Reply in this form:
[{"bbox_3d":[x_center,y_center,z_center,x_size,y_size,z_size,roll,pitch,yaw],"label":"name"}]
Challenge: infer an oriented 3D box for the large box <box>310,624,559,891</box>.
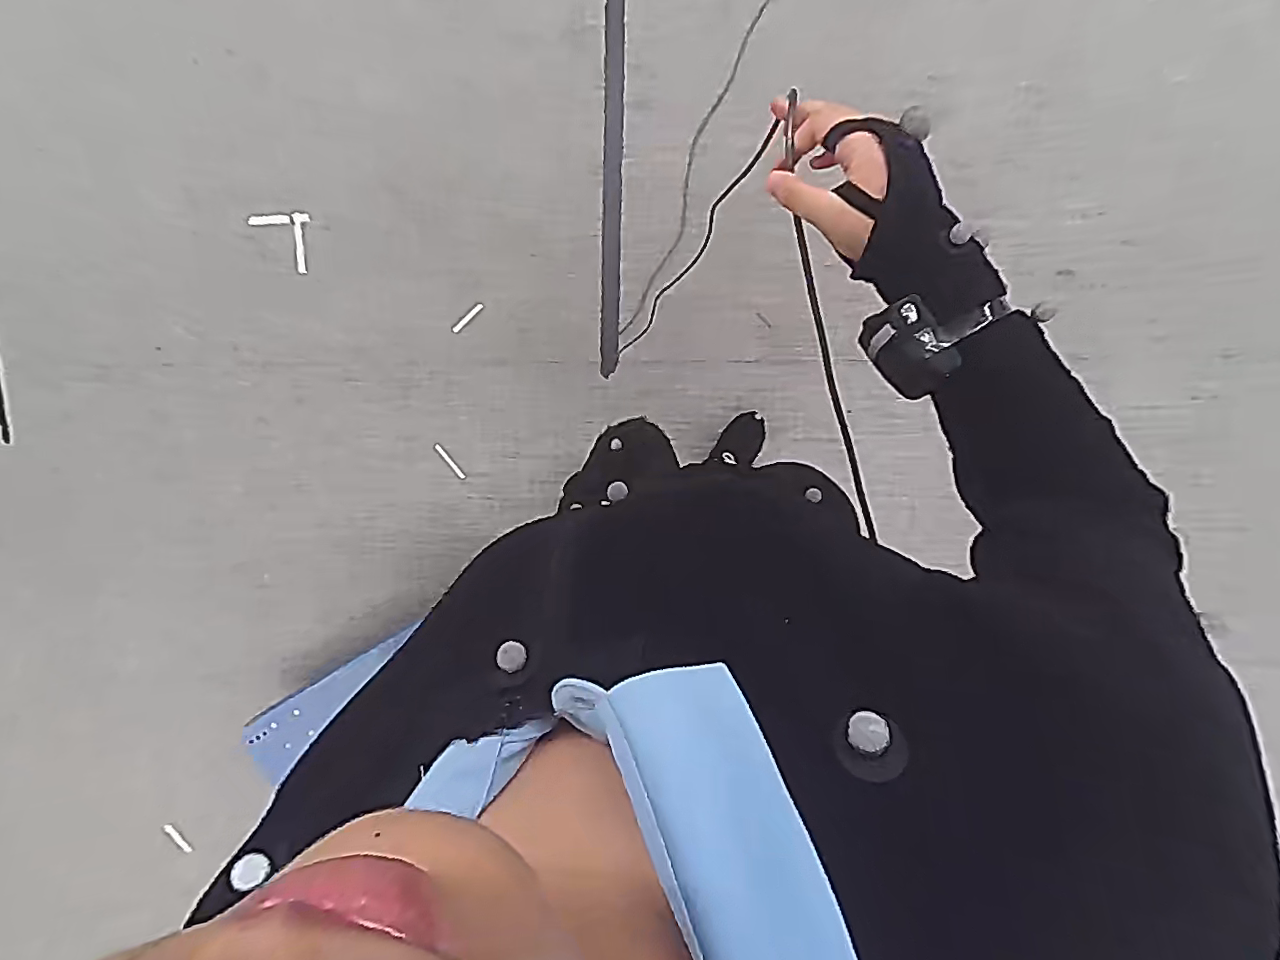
[{"bbox_3d":[-0.452,0.626,1.275,0.320,0.320,0.408,-31,93,7],"label":"large box"}]
